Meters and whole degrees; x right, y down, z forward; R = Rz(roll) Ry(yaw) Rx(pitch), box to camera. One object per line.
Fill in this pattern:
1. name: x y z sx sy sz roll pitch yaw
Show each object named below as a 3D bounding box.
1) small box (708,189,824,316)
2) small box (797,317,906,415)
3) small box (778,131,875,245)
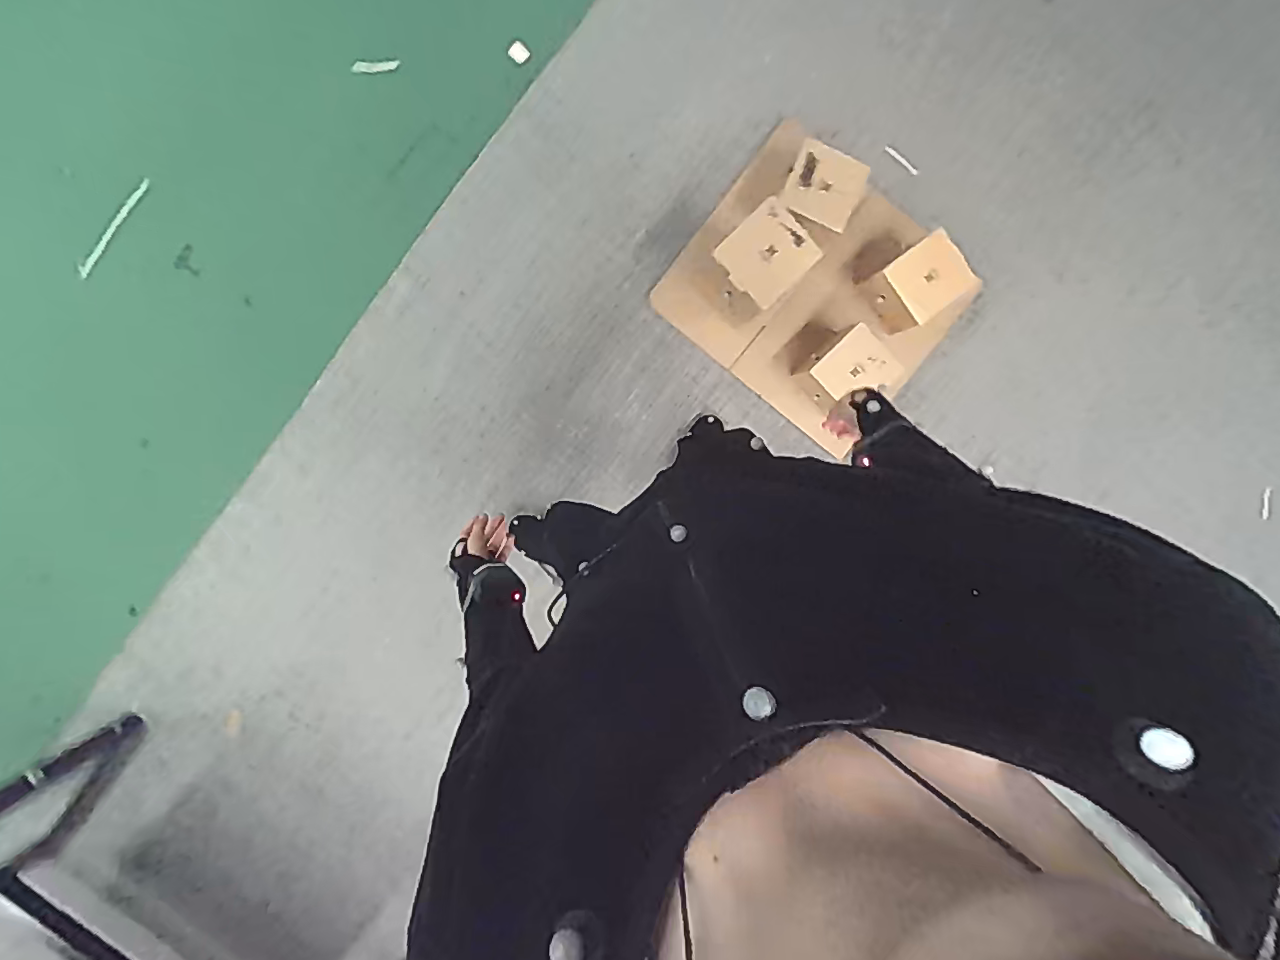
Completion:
1. small box: 0.266 -0.488 1.192 0.179 0.176 0.168 -42 96 4
2. small box: 0.525 -0.281 1.378 0.179 0.176 0.168 -44 95 3
3. small box: 0.433 -0.707 1.337 0.179 0.176 0.168 24 95 -4
